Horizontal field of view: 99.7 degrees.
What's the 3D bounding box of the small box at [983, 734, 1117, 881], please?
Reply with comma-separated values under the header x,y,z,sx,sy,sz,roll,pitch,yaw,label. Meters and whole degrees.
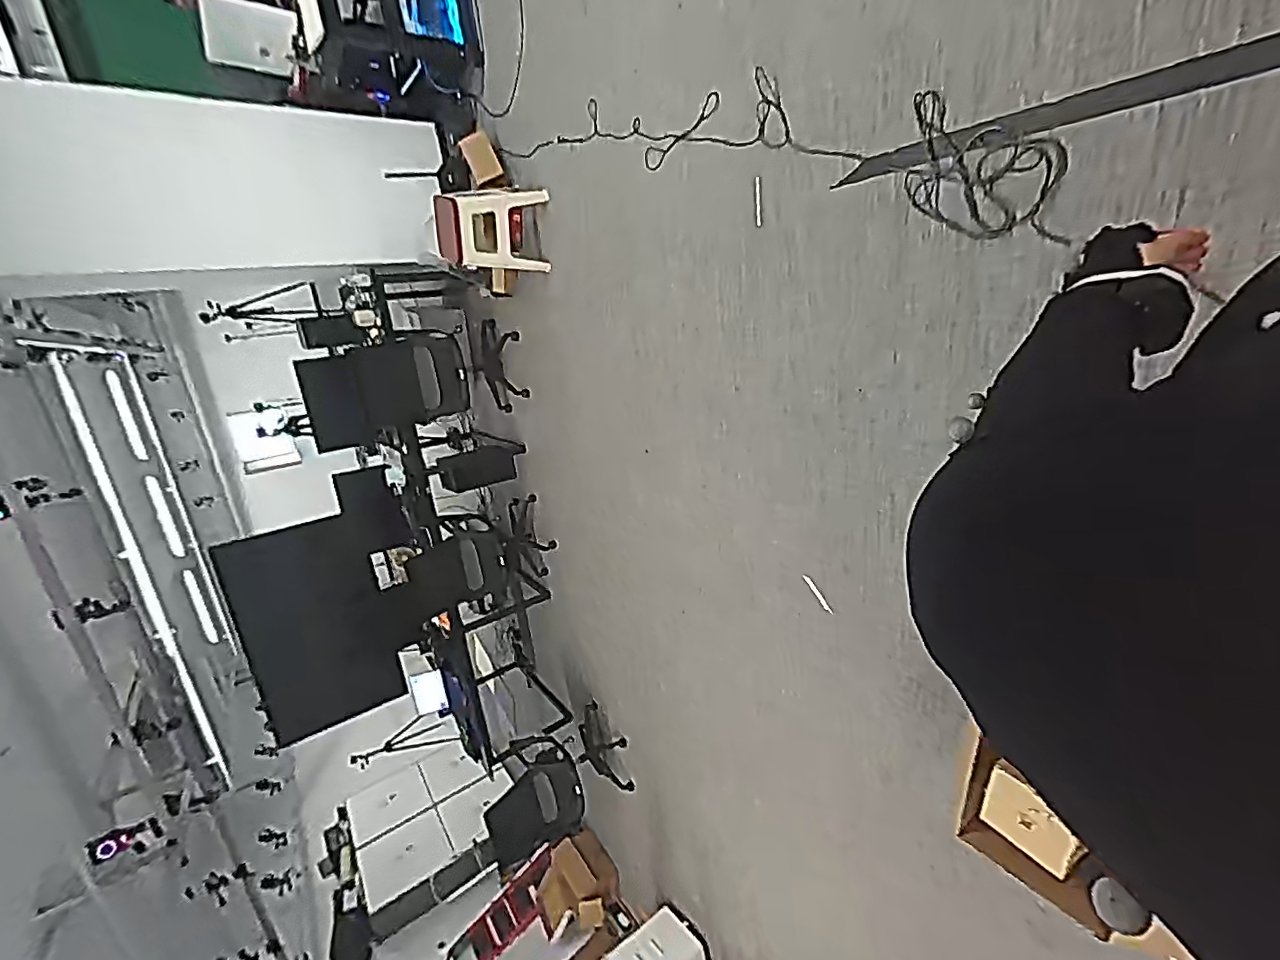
x,y,z,sx,sy,sz,roll,pitch,yaw,label
0.885,0.698,1.170,0.168,0.176,0.179,29,129,52,small box
